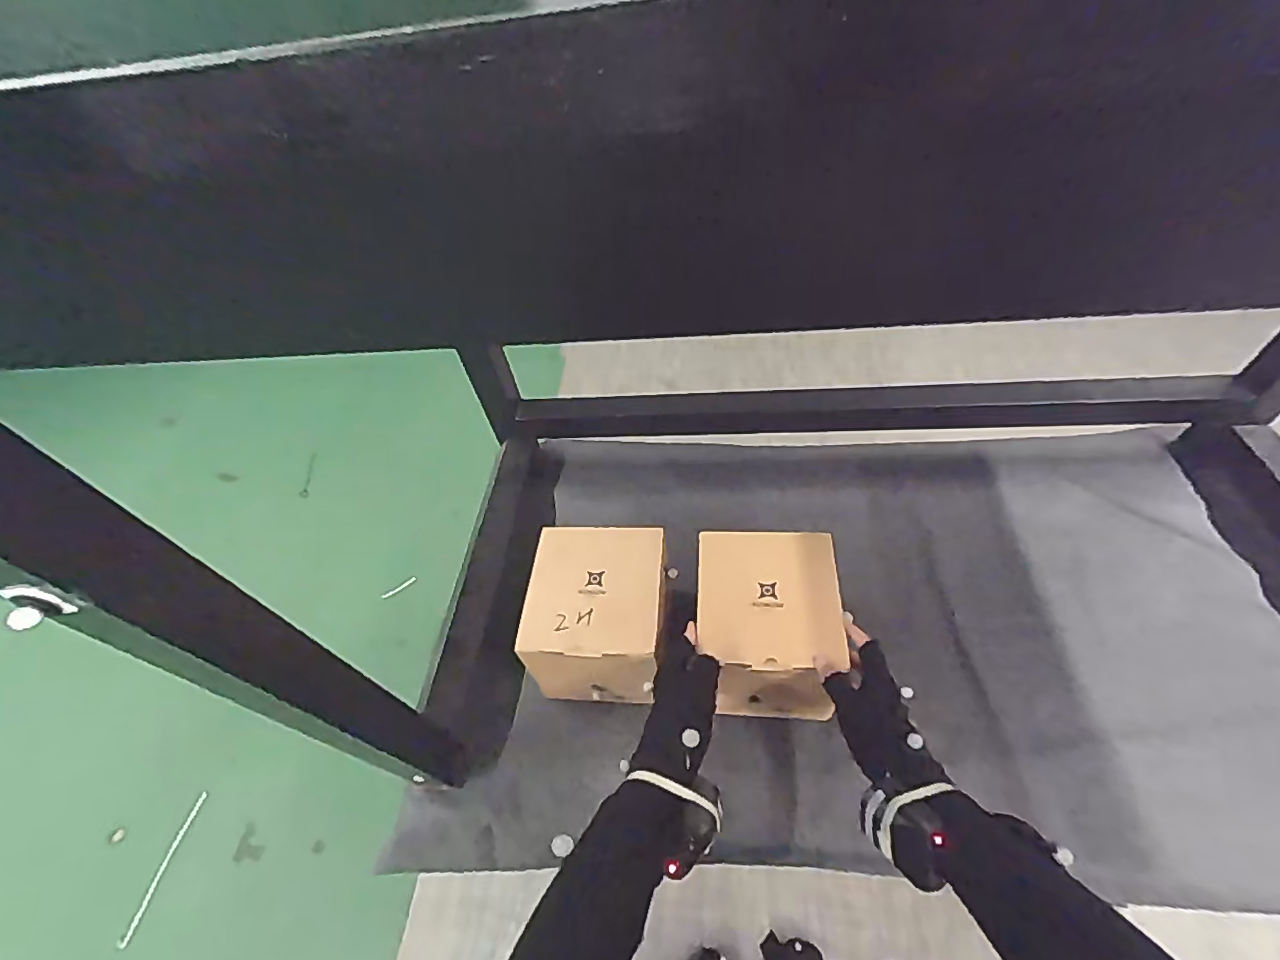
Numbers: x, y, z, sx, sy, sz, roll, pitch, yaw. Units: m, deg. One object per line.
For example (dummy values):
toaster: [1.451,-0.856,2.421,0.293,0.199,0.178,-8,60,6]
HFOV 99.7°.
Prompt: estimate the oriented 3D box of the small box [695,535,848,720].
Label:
small box: [0.157,0.189,0.696,0.168,0.176,0.179,-1,51,9]

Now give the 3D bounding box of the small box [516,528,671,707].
small box: [-0.048,0.184,0.726,0.168,0.176,0.179,0,50,8]
